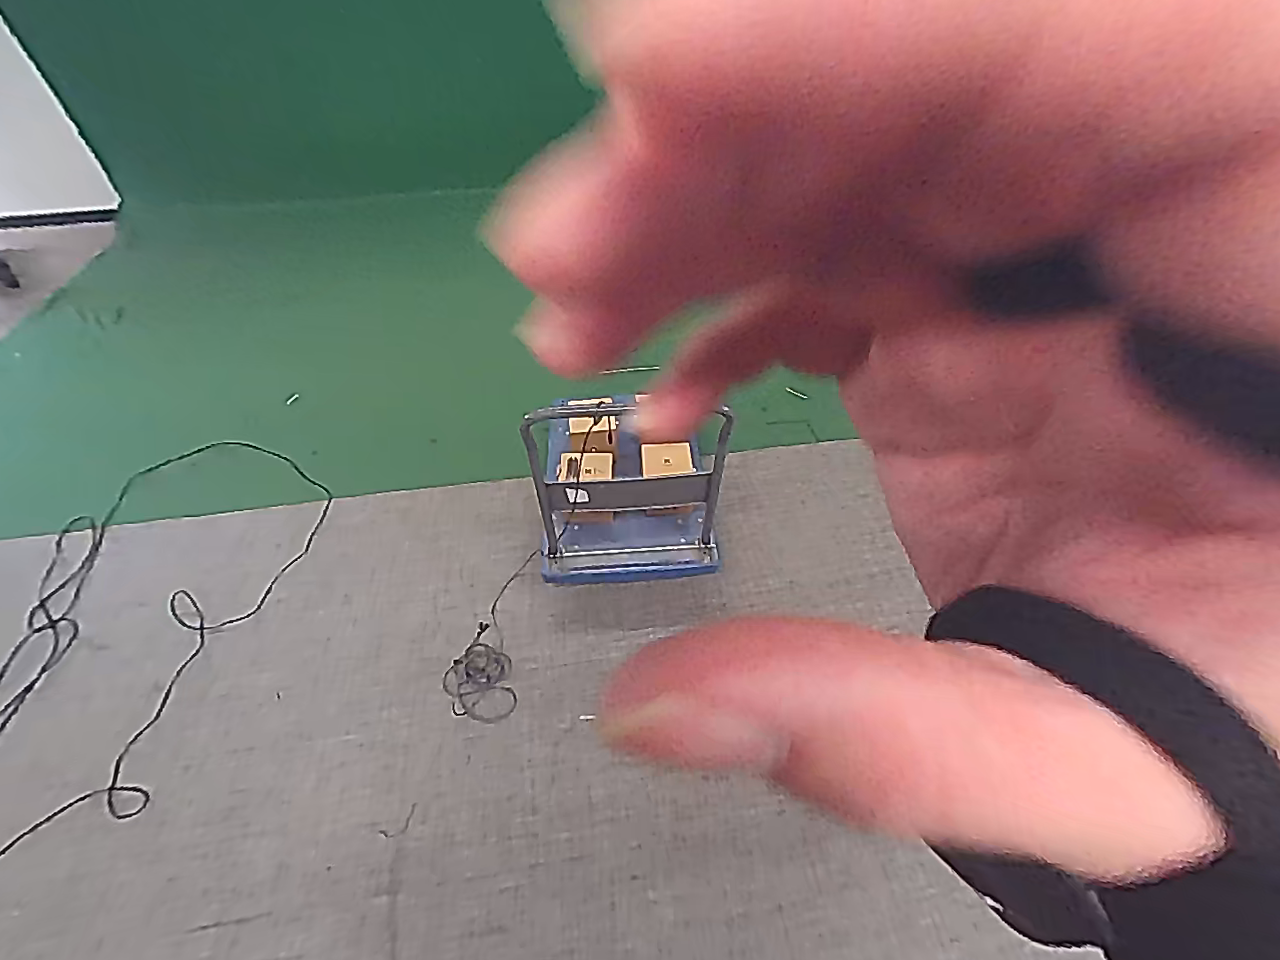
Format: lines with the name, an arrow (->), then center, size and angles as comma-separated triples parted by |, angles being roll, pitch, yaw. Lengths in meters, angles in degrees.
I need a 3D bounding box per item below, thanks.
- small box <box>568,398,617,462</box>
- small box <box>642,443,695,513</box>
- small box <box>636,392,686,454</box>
small box -> -0.175, -0.180, 2.016 | 0.168, 0.176, 0.179 | -6, 49, -5
small box -> 0.092, -0.006, 1.858 | 0.168, 0.176, 0.179 | -3, 49, -1
small box -> 0.074, -0.208, 2.036 | 0.168, 0.176, 0.179 | -6, 49, -4
